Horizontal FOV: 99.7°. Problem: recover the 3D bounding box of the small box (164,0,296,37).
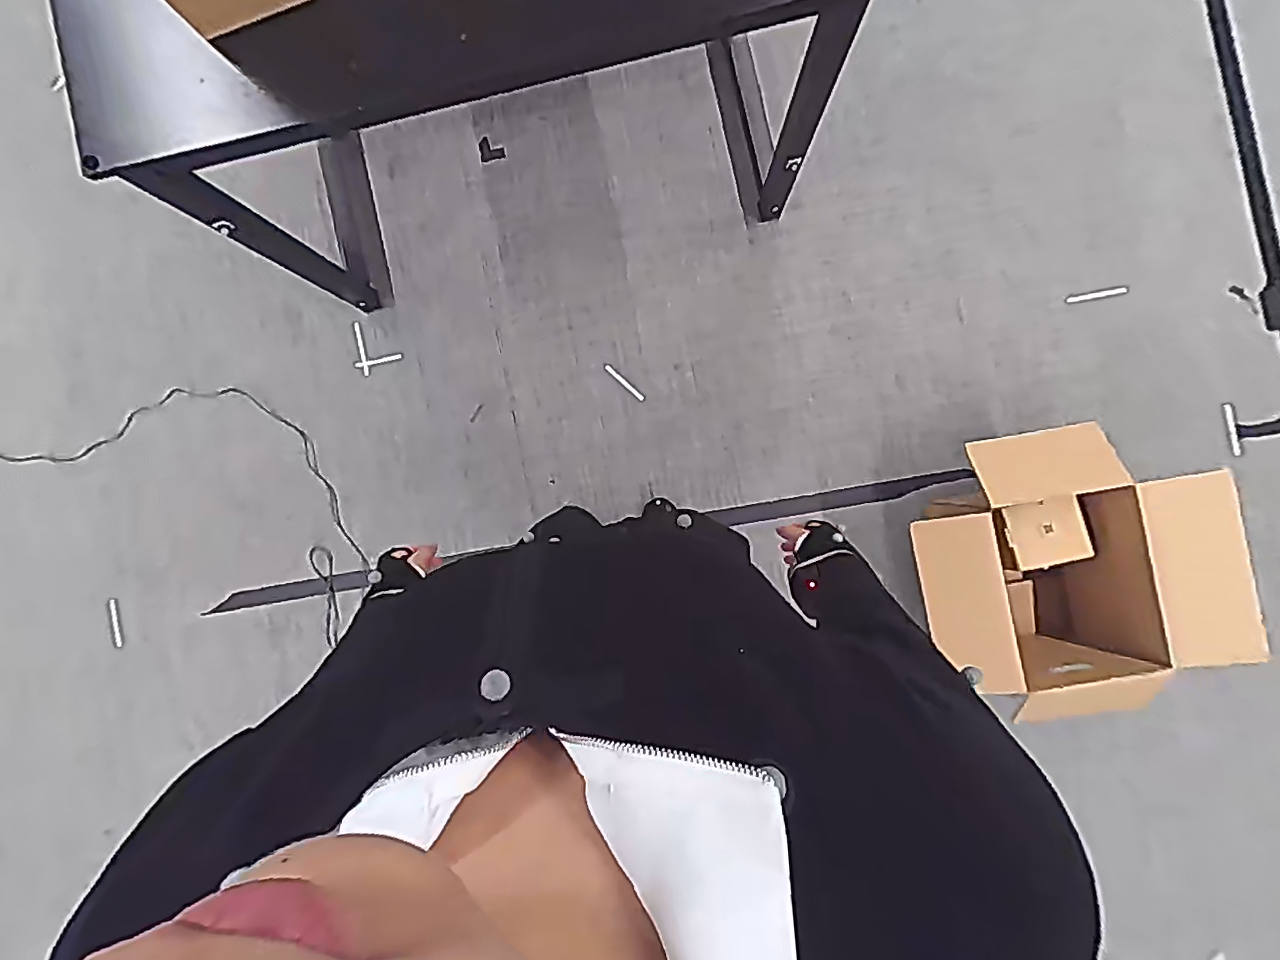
[{"bbox_3d":[-0.586,-0.747,0.711,0.179,0.176,0.168,-19,89,3],"label":"small box"}]
